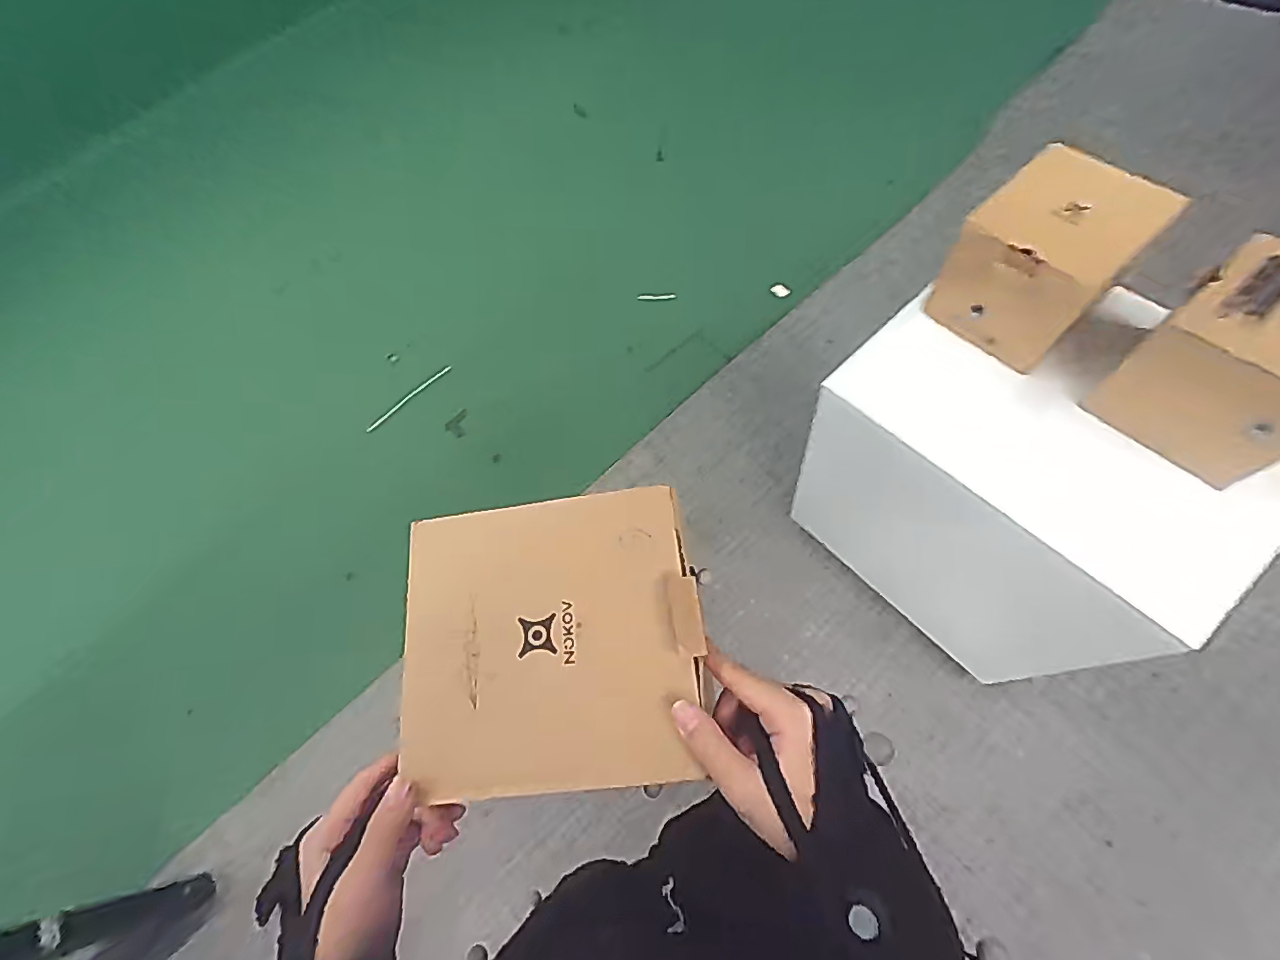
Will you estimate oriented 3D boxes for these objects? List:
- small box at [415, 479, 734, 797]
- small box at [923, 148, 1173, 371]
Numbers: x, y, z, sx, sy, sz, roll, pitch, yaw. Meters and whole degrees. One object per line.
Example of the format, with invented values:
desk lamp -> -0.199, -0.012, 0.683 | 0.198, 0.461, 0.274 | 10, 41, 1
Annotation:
small box -> -0.032, 0.115, 0.387 | 0.179, 0.176, 0.168 | -9, 66, 7
small box -> 0.514, -0.283, 0.715 | 0.179, 0.176, 0.168 | -41, 67, -9
